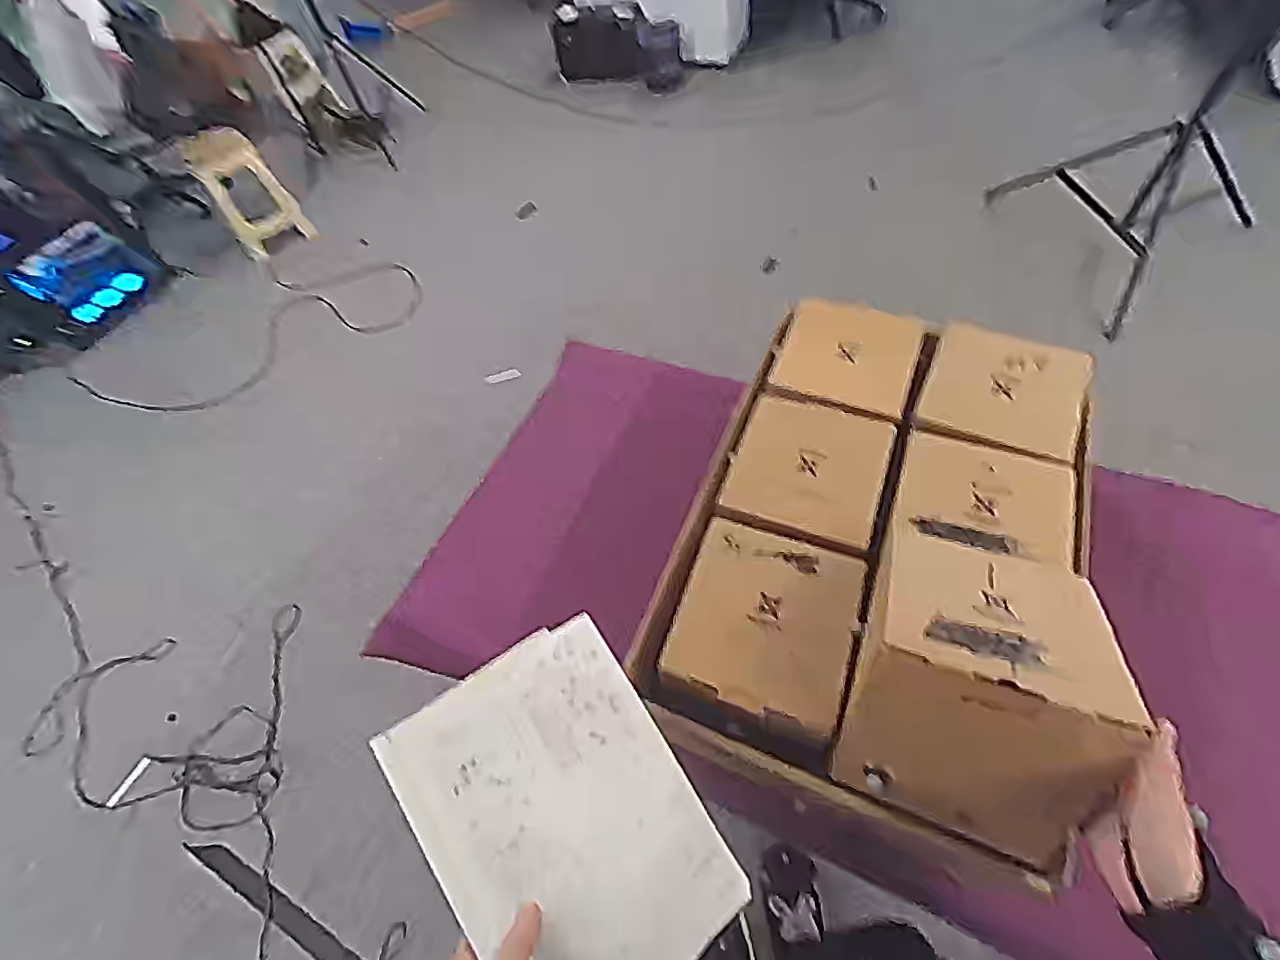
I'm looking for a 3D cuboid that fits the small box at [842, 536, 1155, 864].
[{"bbox_3d":[0.284,0.181,0.471,0.168,0.176,0.179,15,32,21],"label":"small box"}]
